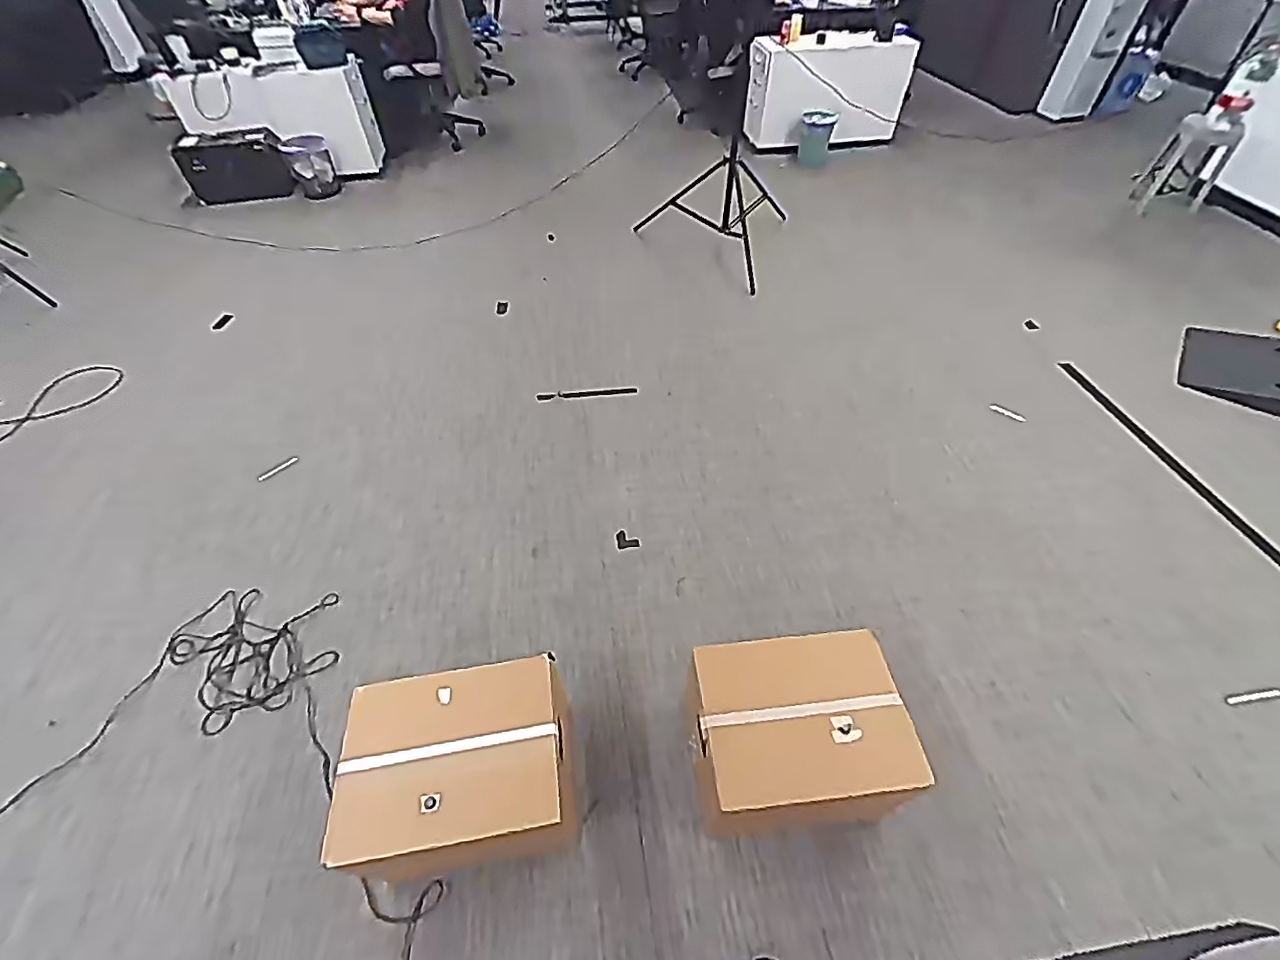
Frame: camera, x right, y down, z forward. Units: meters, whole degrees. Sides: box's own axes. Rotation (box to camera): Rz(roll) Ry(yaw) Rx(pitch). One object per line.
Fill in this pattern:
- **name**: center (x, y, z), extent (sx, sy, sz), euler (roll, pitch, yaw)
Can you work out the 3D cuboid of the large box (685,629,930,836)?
- **large box**: center (0.329, 0.562, 1.200), extent (0.408, 0.320, 0.320), euler (-4, 49, -4)
